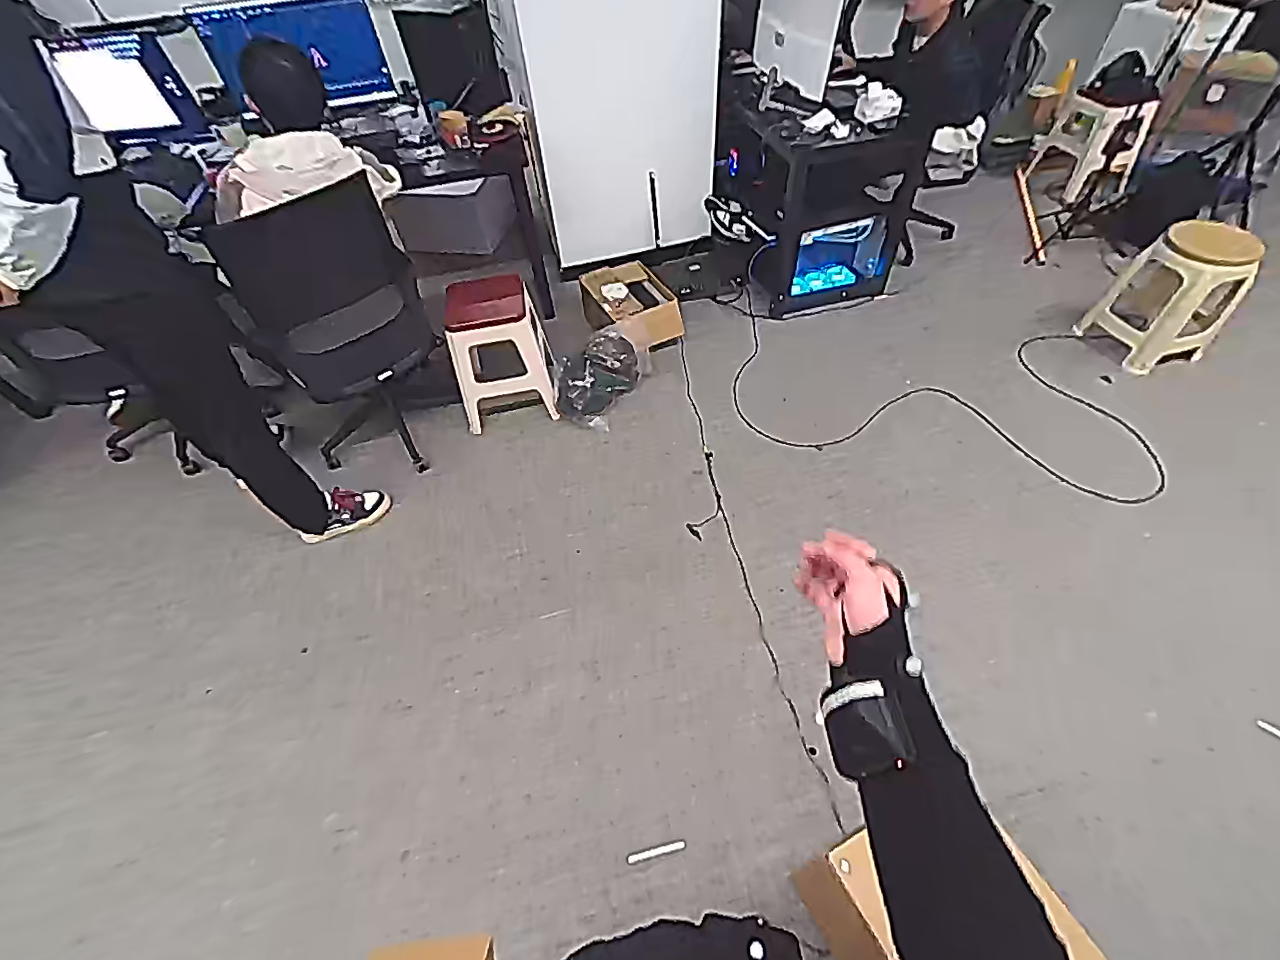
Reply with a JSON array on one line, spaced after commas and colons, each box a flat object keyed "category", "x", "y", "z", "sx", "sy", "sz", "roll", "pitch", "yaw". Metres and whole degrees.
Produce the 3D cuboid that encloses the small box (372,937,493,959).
[{"category": "small box", "x": -0.277, "y": 0.731, "z": 0.672, "sx": 0.168, "sy": 0.179, "sz": 0.176, "roll": -4, "pitch": 90, "yaw": -2}]
